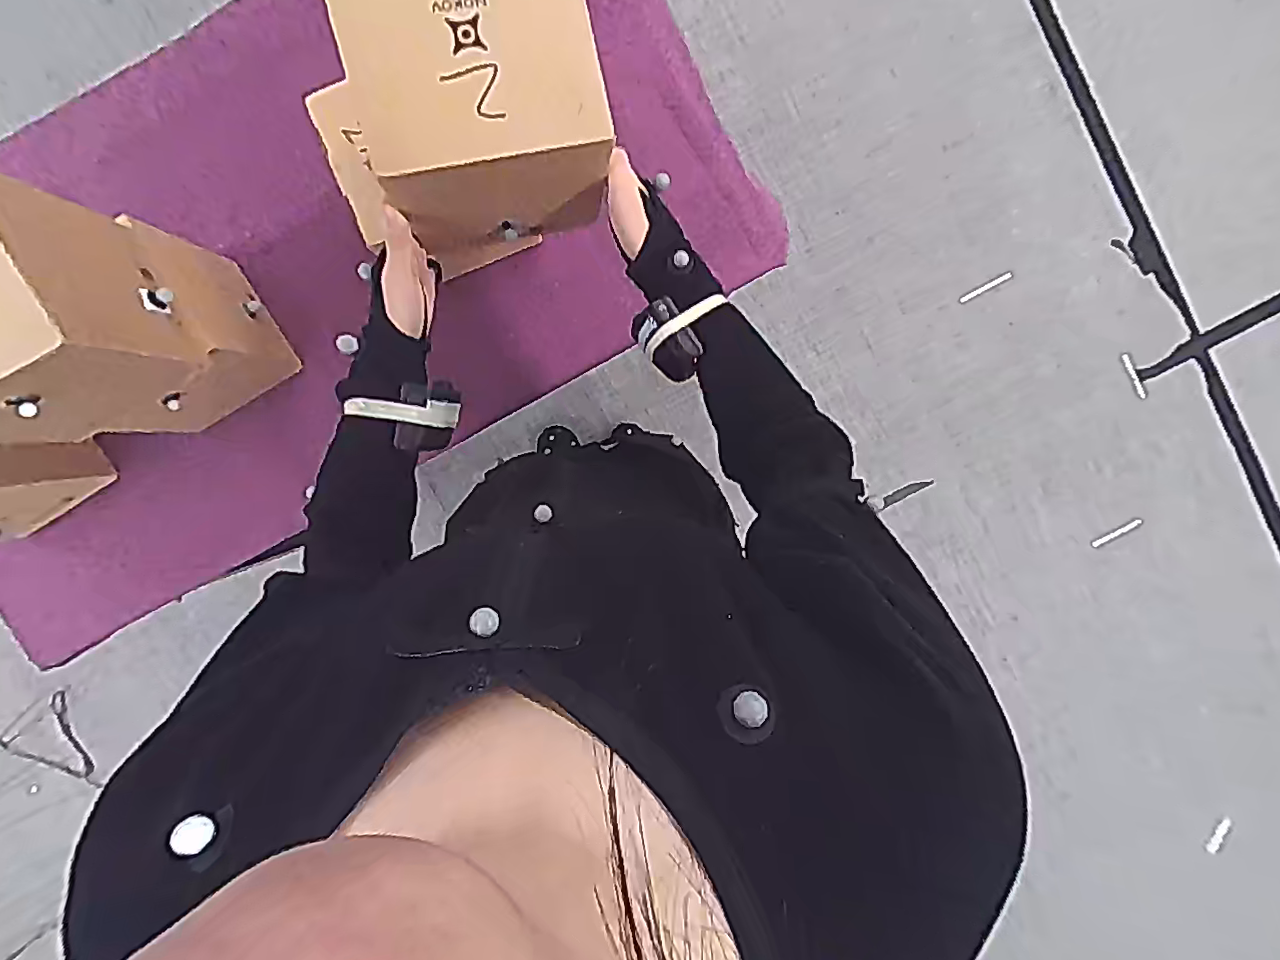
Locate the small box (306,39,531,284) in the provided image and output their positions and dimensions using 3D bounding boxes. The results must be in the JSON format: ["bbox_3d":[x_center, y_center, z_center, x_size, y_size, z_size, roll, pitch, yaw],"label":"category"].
[{"bbox_3d":[-0.243,-0.360,0.649,0.179,0.176,0.168,-22,95,1],"label":"small box"}]

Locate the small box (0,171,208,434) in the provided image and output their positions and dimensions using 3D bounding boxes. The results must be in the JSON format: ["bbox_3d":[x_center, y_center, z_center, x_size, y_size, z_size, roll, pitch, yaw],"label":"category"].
[{"bbox_3d":[-0.568,-0.148,0.497,0.179,0.176,0.168,-28,97,0],"label":"small box"}]

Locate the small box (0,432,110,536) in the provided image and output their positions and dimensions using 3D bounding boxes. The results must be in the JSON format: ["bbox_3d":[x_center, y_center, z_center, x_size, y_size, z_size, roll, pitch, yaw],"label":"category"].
[{"bbox_3d":[-0.834,-0.029,0.664,0.168,0.176,0.179,-32,95,1],"label":"small box"}]

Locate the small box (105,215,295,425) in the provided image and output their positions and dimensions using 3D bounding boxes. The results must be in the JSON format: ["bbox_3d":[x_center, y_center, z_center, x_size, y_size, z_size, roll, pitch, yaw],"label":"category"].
[{"bbox_3d":[-0.578,-0.175,0.657,0.179,0.176,0.168,-31,95,0],"label":"small box"}]
